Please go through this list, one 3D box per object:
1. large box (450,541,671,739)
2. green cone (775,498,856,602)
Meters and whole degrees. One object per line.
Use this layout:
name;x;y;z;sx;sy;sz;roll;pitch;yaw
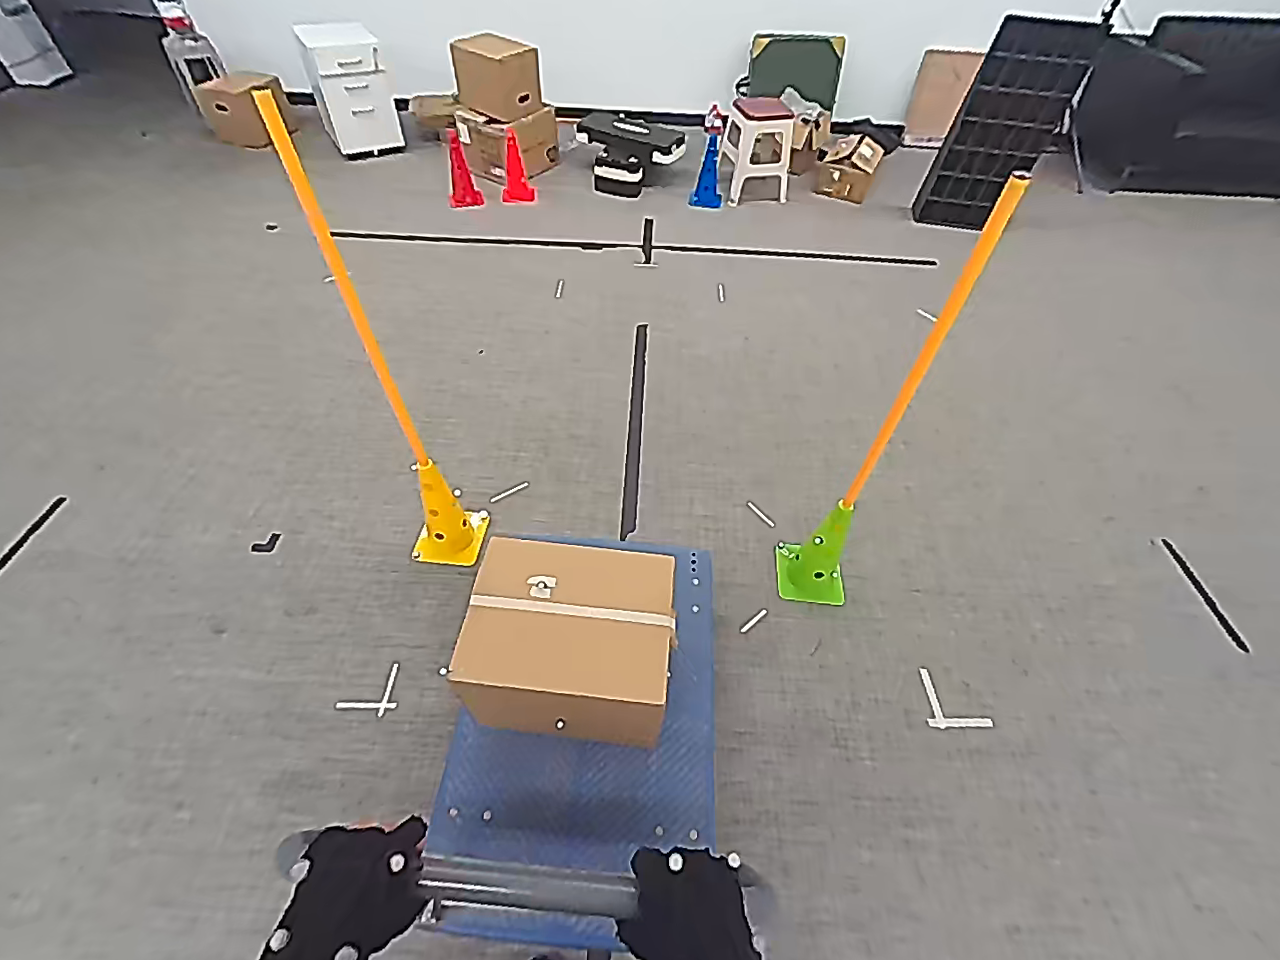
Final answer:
large box;-0.144;0.361;1.200;0.408;0.320;0.320;6;51;3
green cone;0.539;0.179;1.571;0.202;0.368;0.200;7;51;1
